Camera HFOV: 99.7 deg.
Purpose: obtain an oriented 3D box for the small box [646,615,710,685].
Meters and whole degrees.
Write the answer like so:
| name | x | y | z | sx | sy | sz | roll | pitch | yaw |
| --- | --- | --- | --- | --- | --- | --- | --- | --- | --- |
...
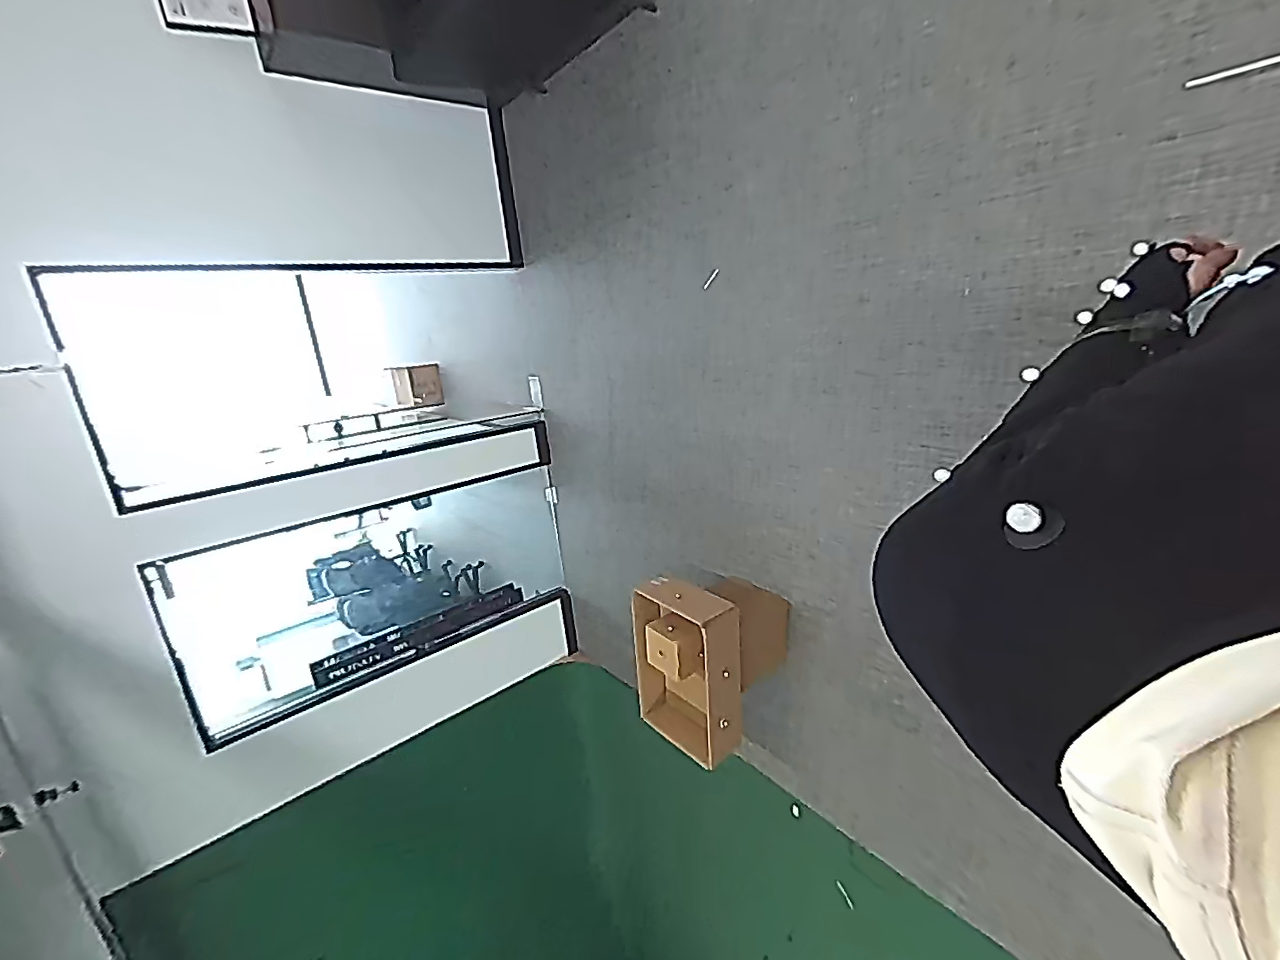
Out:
| name | x | y | z | sx | sy | sz | roll | pitch | yaw |
| --- | --- | --- | --- | --- | --- | --- | --- | --- | --- |
| small box | 0.142 | 0.628 | 2.029 | 0.179 | 0.176 | 0.168 | 17 | 115 | 48 |
